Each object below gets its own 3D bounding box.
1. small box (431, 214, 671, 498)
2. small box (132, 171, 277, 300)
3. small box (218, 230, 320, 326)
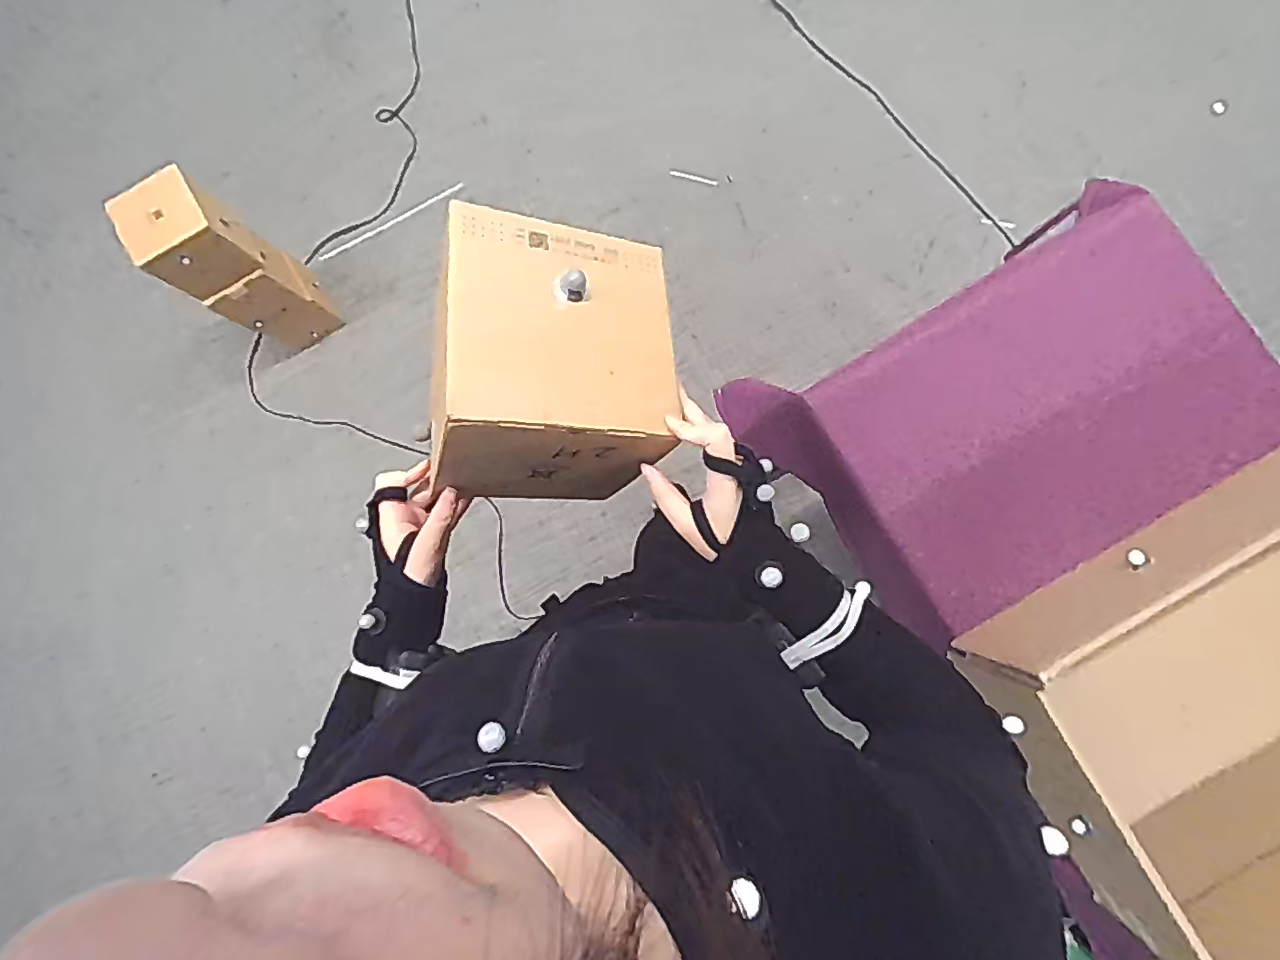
[{"bbox_3d":[-0.088,-0.089,0.472,0.168,0.179,0.176,2,71,-23],"label":"small box"},{"bbox_3d":[-0.976,-0.548,1.234,0.179,0.176,0.168,-31,83,2],"label":"small box"},{"bbox_3d":[-0.973,-0.520,1.395,0.168,0.176,0.179,-31,83,0],"label":"small box"}]
